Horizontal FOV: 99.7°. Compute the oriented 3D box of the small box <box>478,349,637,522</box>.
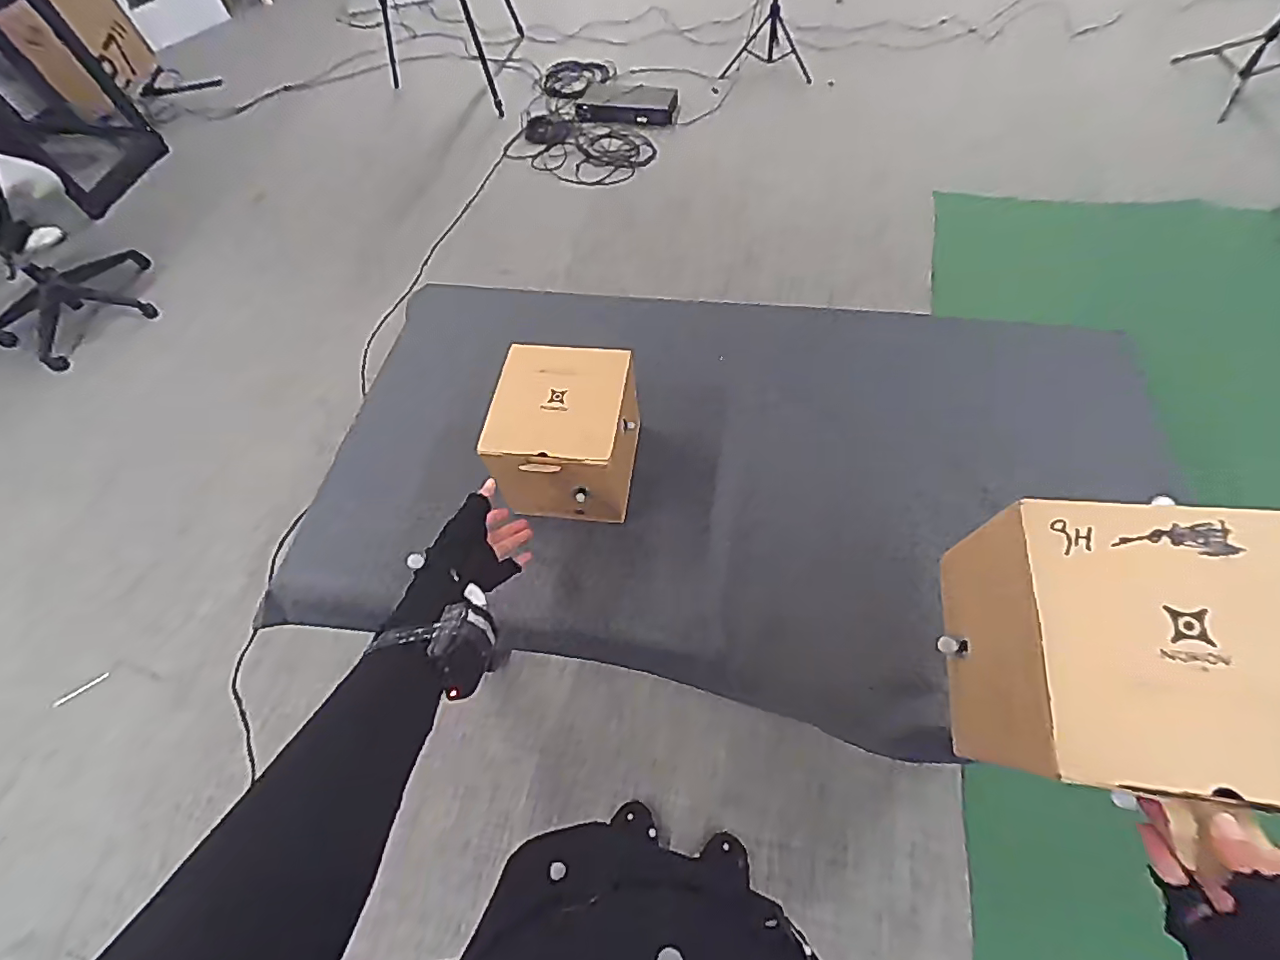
[{"bbox_3d":[-0.098,-0.056,0.743,0.168,0.176,0.179,4,60,7],"label":"small box"}]
